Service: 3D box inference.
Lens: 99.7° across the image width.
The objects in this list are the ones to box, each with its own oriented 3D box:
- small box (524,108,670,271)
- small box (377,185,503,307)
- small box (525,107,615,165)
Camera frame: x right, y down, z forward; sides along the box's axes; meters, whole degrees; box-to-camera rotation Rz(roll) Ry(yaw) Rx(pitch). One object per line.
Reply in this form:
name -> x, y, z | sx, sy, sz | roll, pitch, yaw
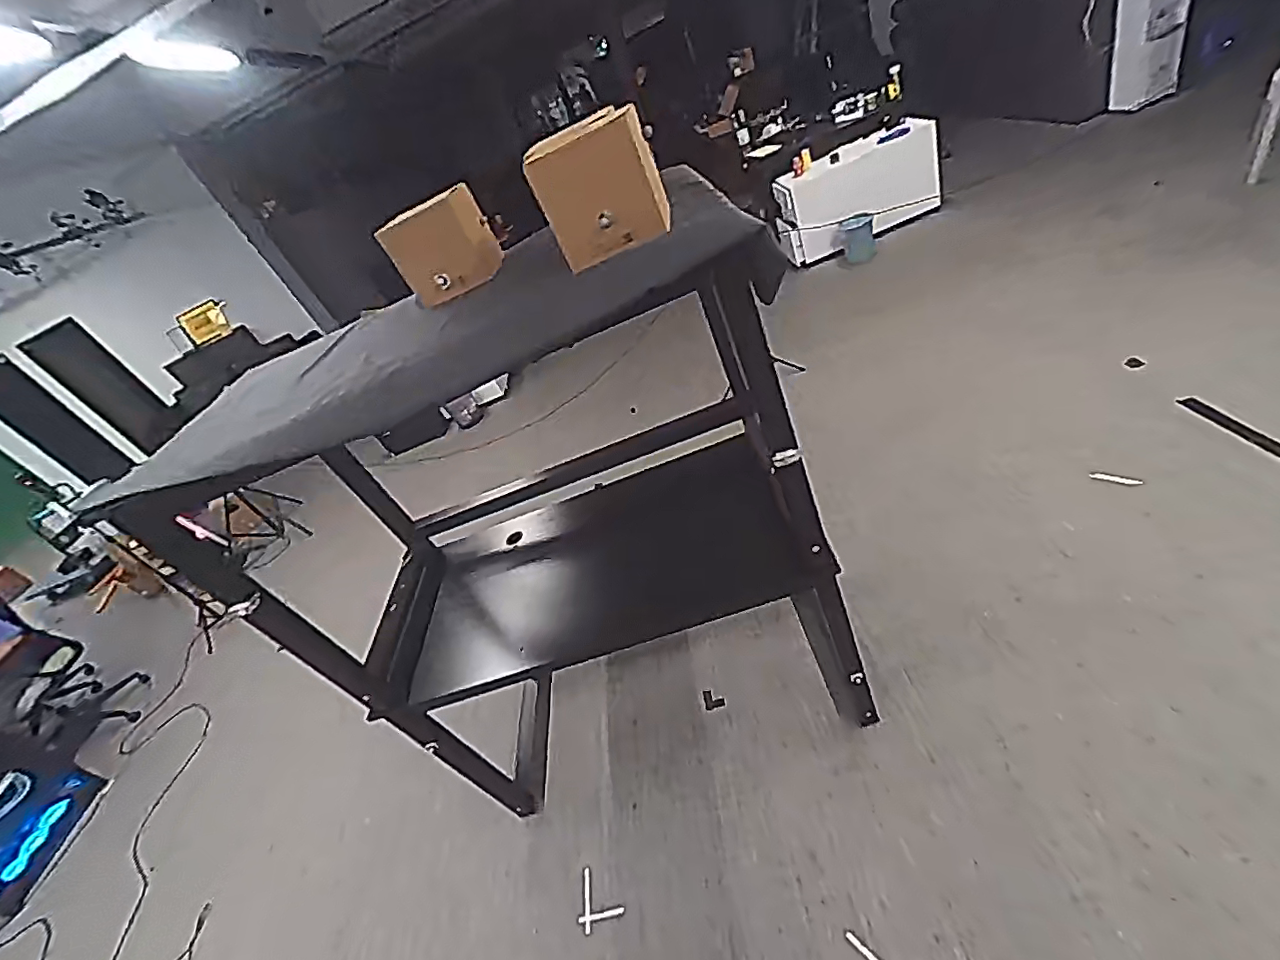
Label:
small box -> -0.057, -0.461, 0.865 | 0.168, 0.176, 0.179 | -17, 36, 16
small box -> -0.407, -0.489, 1.139 | 0.168, 0.176, 0.179 | -21, 35, 11
small box -> -0.096, -0.577, 1.039 | 0.168, 0.176, 0.179 | -17, 38, 15
